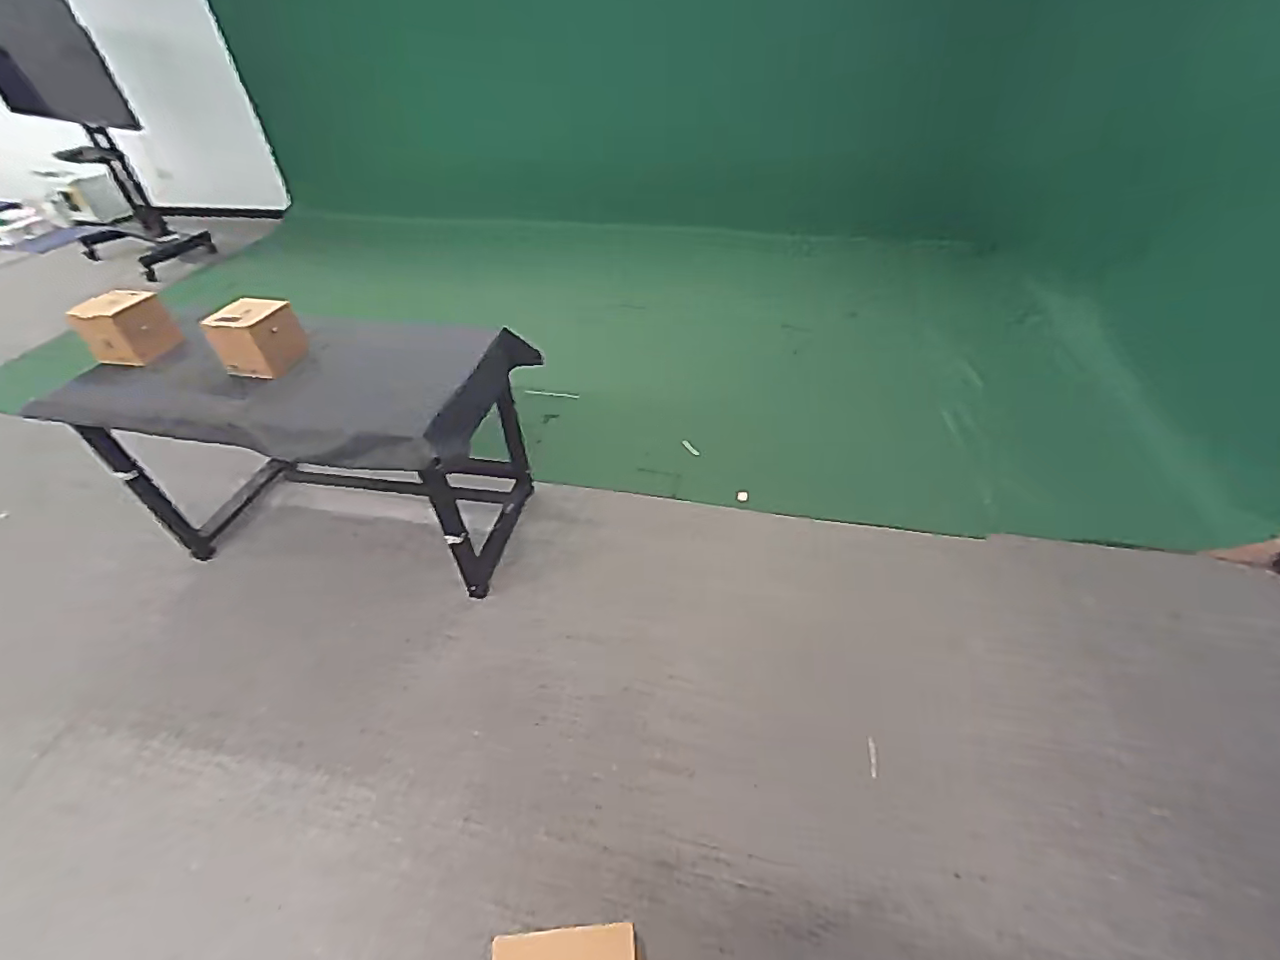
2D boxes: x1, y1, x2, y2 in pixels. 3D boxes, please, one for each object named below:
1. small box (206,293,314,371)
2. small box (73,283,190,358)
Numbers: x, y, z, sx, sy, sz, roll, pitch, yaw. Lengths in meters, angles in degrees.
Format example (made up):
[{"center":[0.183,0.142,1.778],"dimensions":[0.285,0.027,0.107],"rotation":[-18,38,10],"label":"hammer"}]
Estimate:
[{"center":[-1.135,-0.447,1.634],"dimensions":[0.168,0.176,0.179],"rotation":[7,43,10],"label":"small box"},{"center":[-1.599,-0.504,1.715],"dimensions":[0.168,0.176,0.179],"rotation":[7,45,8],"label":"small box"}]
